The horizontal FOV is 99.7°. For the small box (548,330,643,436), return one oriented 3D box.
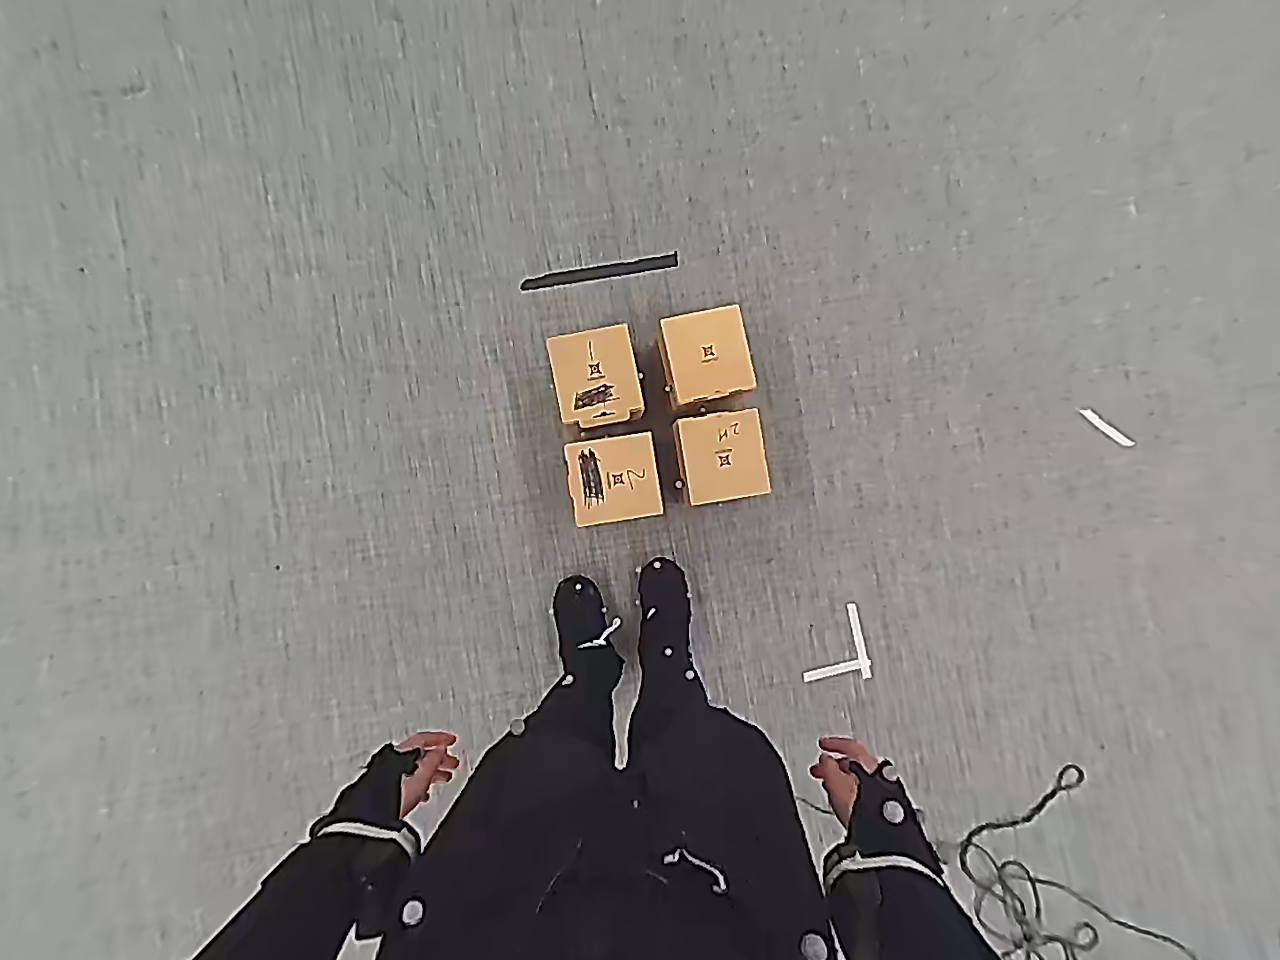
[{"bbox_3d":[-0.092,-0.195,1.141,0.168,0.176,0.179,-11,86,-4],"label":"small box"}]
